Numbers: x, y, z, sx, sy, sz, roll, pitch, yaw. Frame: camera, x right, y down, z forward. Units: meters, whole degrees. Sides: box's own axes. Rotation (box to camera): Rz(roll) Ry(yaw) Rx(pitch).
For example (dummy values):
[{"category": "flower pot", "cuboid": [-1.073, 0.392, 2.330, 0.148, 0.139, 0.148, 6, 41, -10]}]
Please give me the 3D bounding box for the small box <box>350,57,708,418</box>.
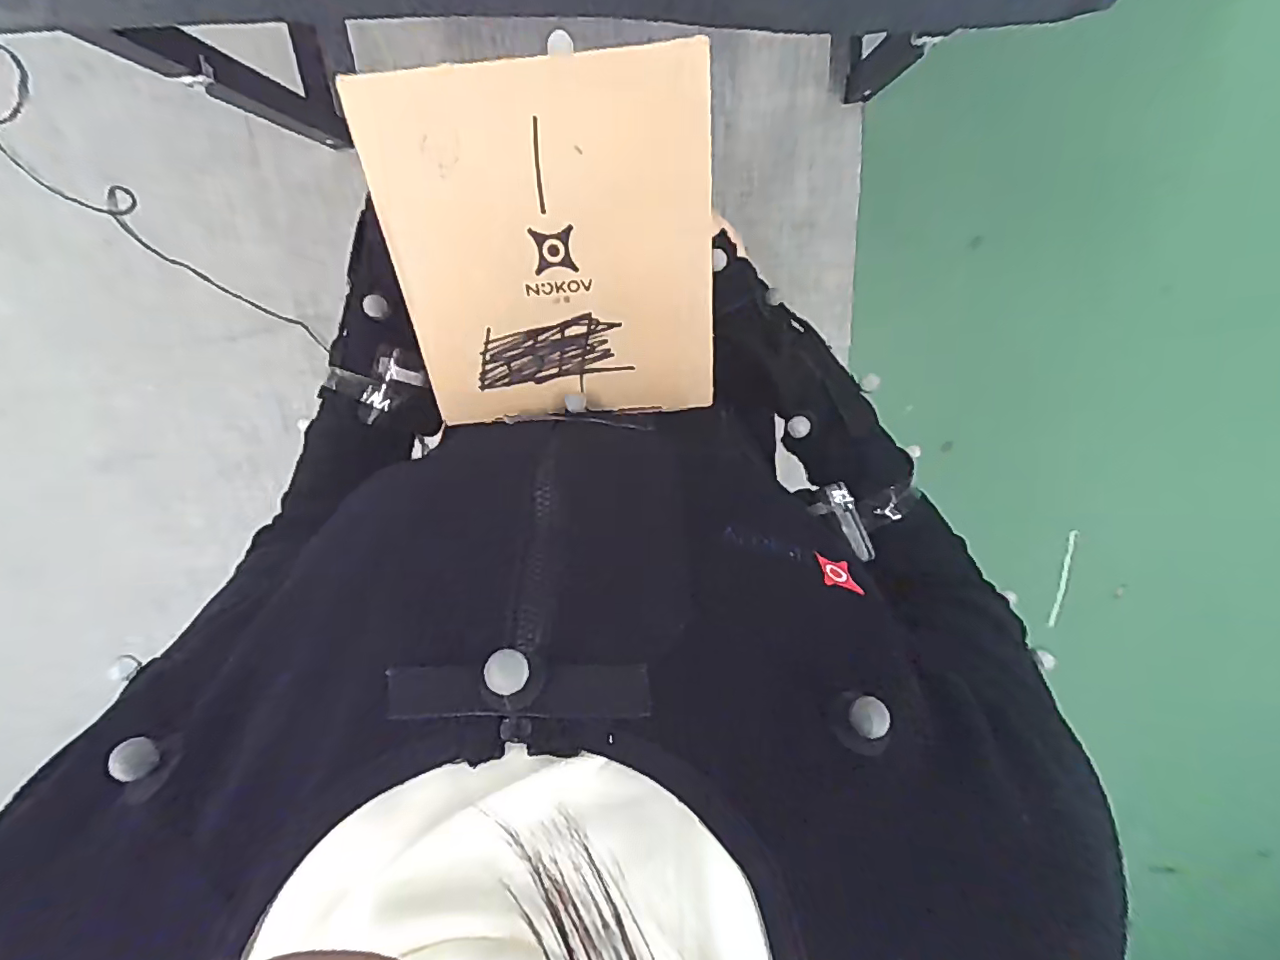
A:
[{"category": "small box", "cuboid": [-0.046, -0.159, 0.355, 0.168, 0.176, 0.179, -3, 124, 2]}]
